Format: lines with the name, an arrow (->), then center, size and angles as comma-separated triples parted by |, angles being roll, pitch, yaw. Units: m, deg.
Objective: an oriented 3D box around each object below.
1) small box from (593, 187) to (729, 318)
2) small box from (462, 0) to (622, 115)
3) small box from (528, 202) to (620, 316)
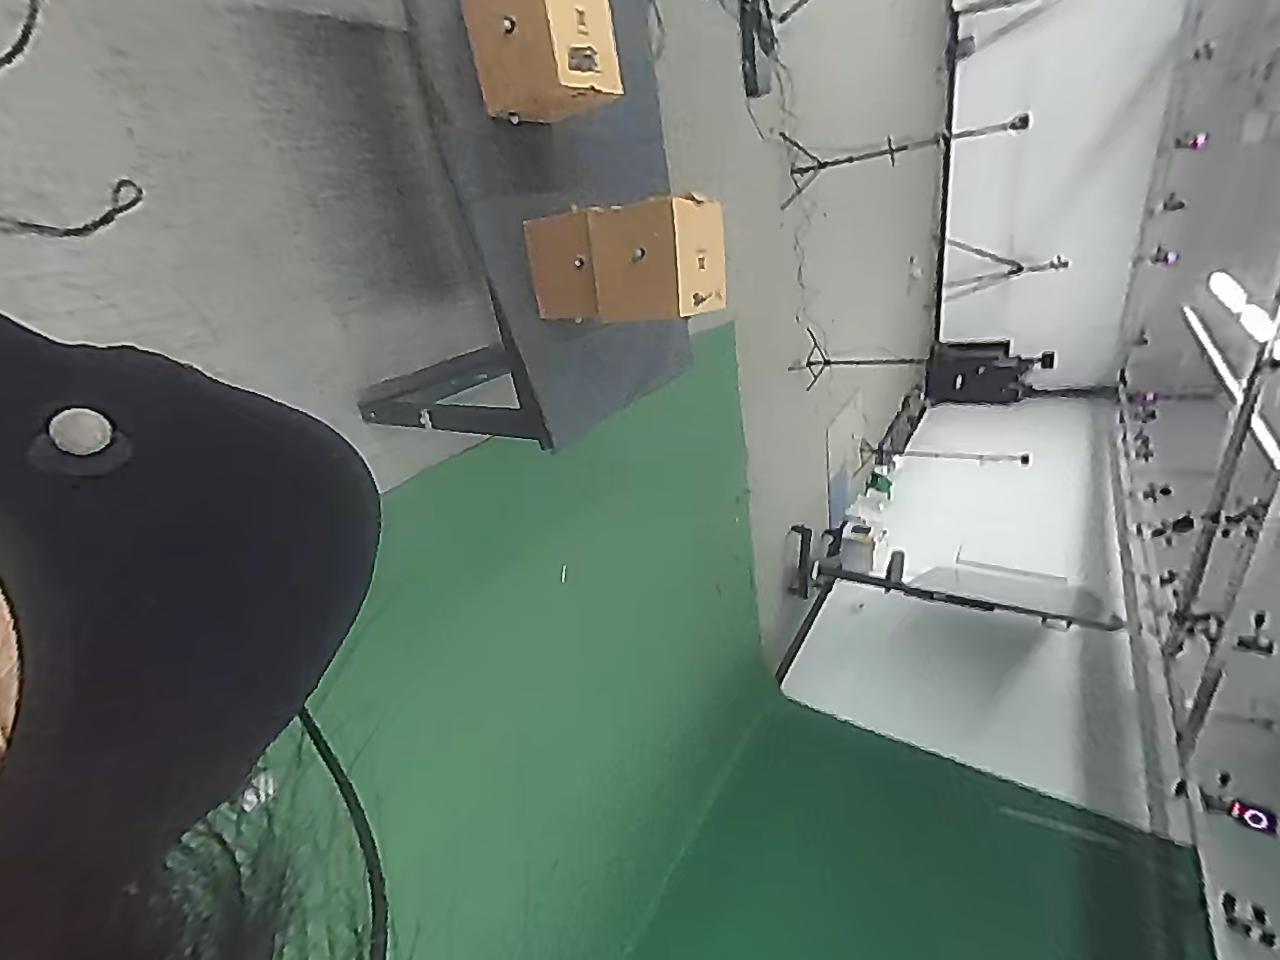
small box -> 0.037, -0.378, 0.919 | 0.168, 0.176, 0.179 | -30, 120, -49
small box -> -0.155, -0.709, 0.865 | 0.168, 0.176, 0.179 | -38, 125, -47
small box -> -0.089, -0.414, 1.020 | 0.168, 0.176, 0.179 | -34, 124, -47
